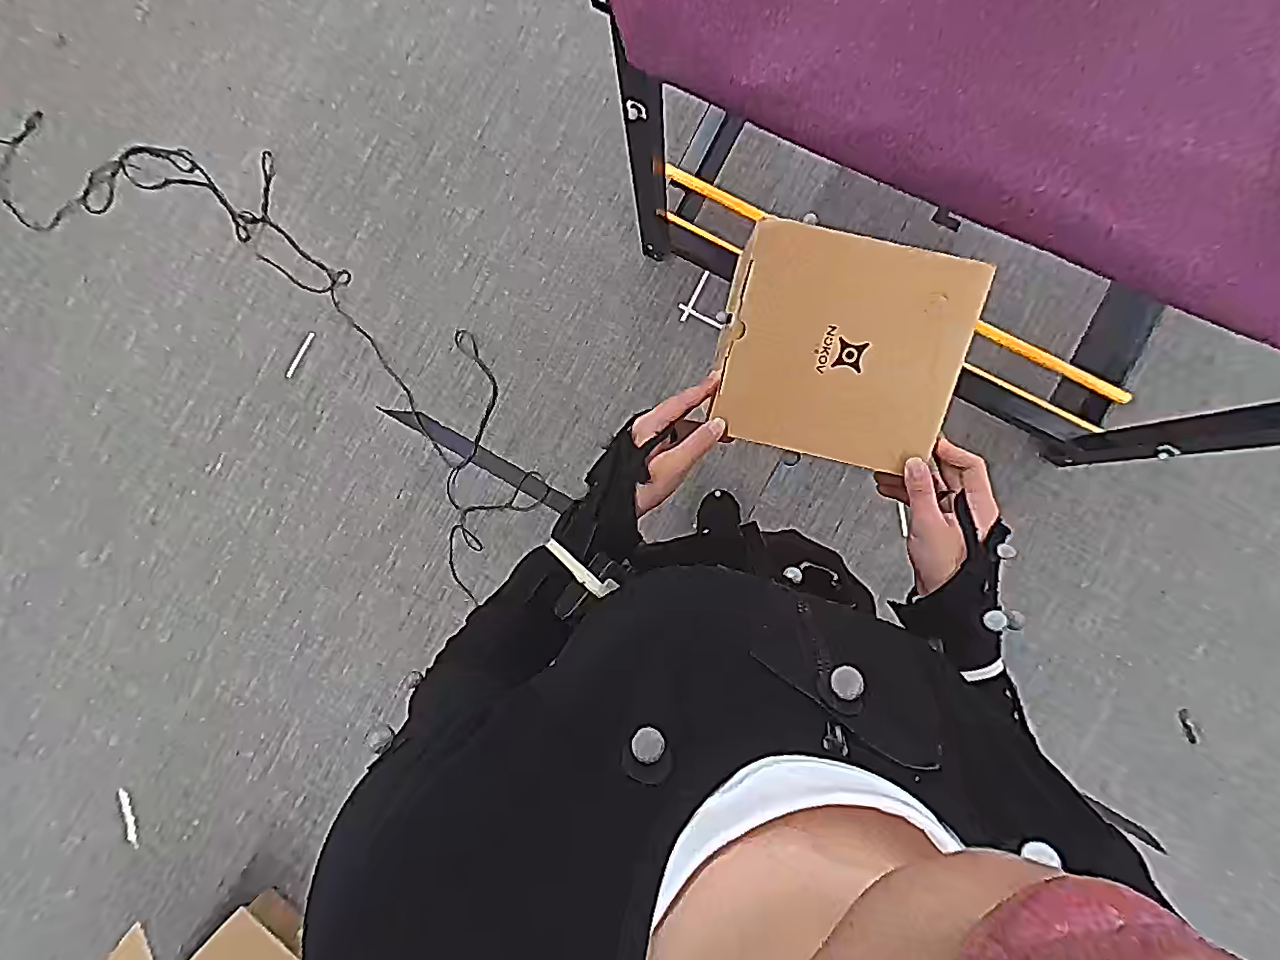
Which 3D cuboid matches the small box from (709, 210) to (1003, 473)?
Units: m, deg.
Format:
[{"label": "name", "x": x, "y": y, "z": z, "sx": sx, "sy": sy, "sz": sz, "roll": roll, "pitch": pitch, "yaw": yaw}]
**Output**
[{"label": "small box", "x": 0.167, "y": -0.119, "z": 0.485, "sx": 0.179, "sy": 0.176, "sz": 0.168, "roll": 13, "pitch": 104, "yaw": 3}]
